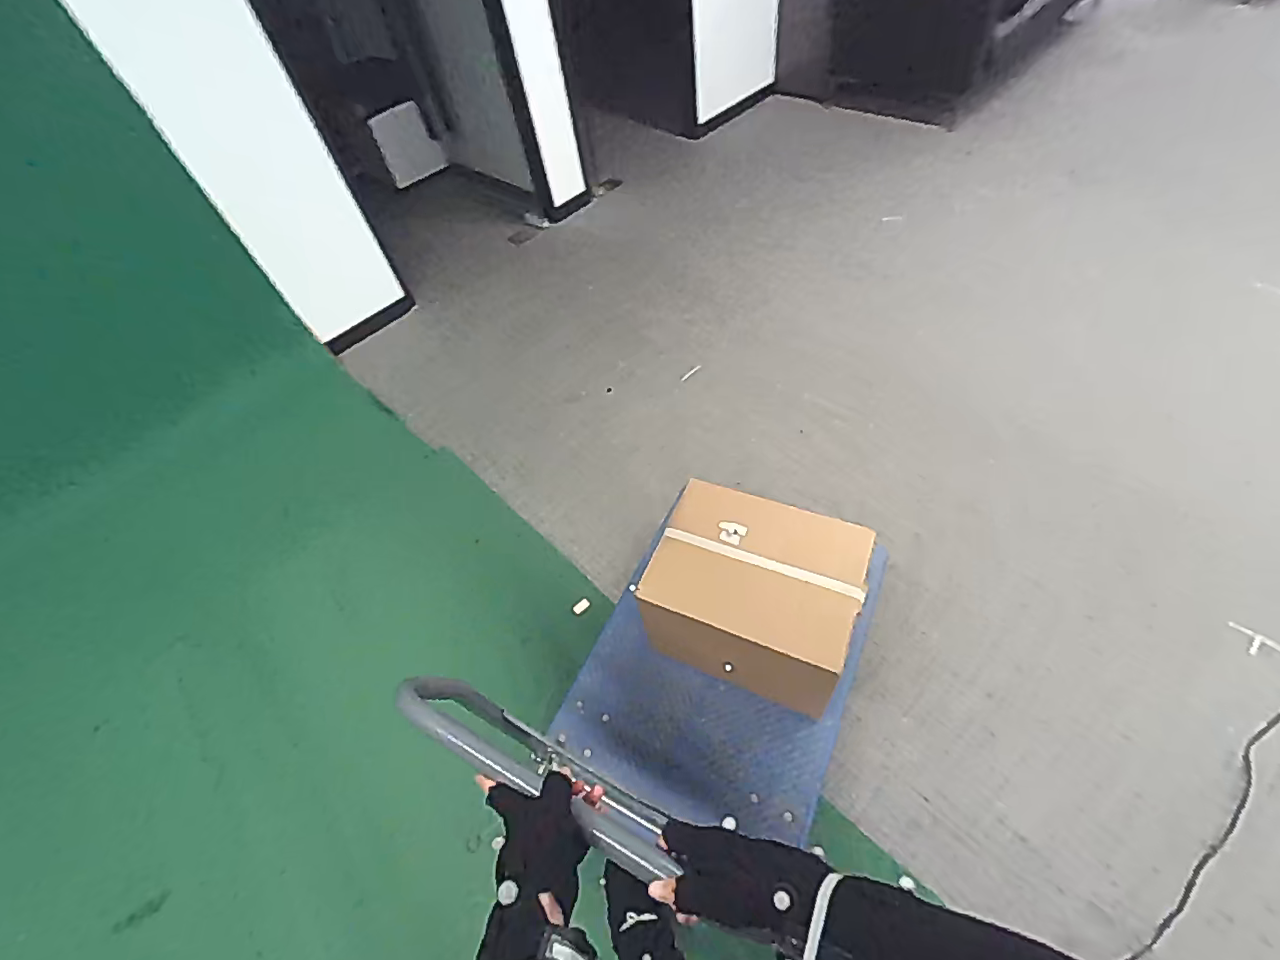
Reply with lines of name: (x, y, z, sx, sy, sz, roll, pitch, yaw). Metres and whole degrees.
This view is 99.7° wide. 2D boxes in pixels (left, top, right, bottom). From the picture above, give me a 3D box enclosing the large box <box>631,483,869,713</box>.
large box: (0.246, 0.258, 1.195, 0.408, 0.320, 0.320, 16, 57, 23)
